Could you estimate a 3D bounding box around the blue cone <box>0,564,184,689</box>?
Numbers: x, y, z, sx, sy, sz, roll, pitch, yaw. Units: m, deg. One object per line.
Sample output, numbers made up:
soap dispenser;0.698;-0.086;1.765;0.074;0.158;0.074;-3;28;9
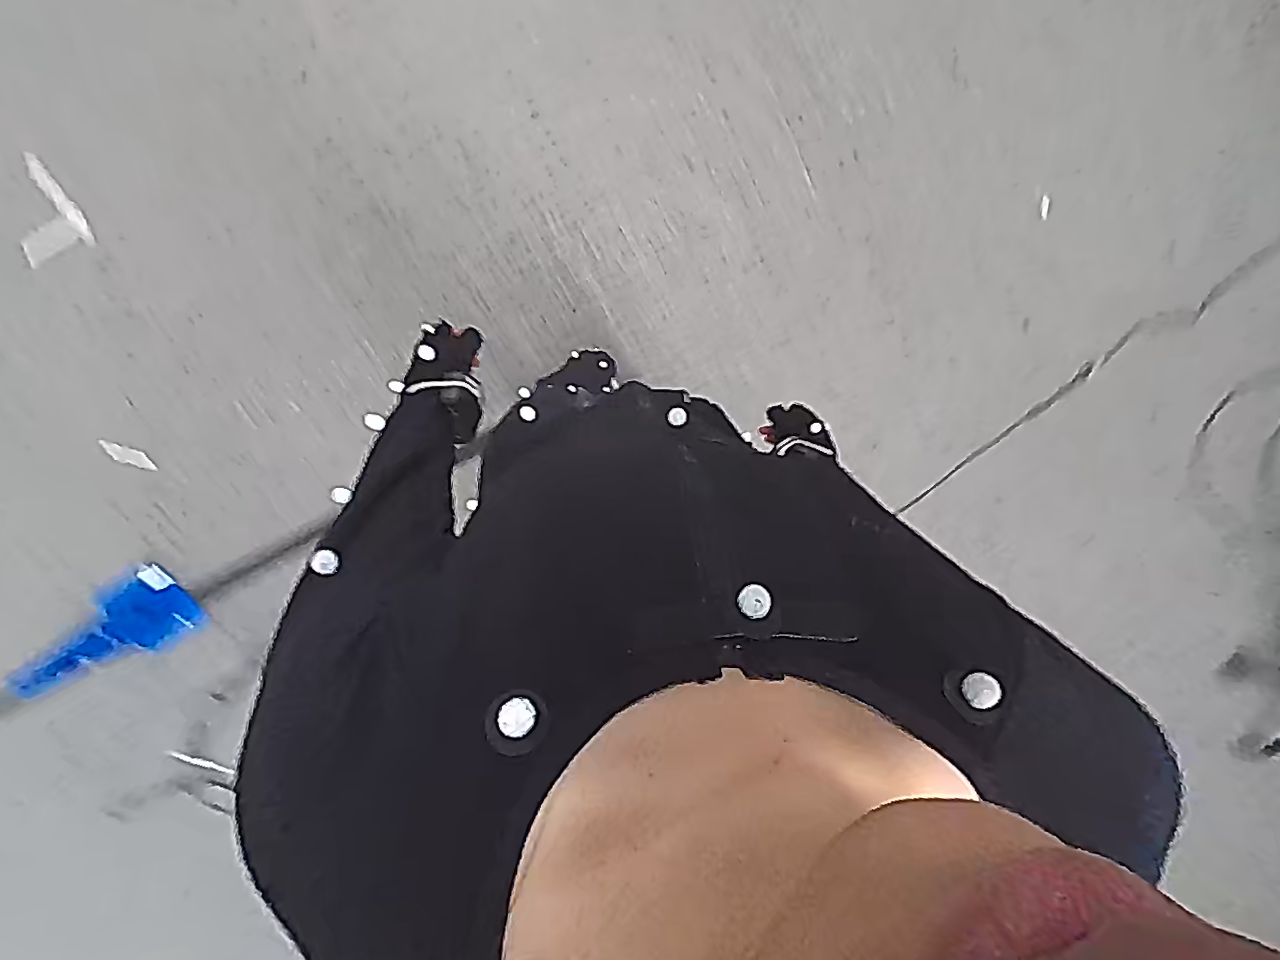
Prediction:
blue cone;-1.305;0.372;1.260;0.193;0.380;0.192;-32;104;1
